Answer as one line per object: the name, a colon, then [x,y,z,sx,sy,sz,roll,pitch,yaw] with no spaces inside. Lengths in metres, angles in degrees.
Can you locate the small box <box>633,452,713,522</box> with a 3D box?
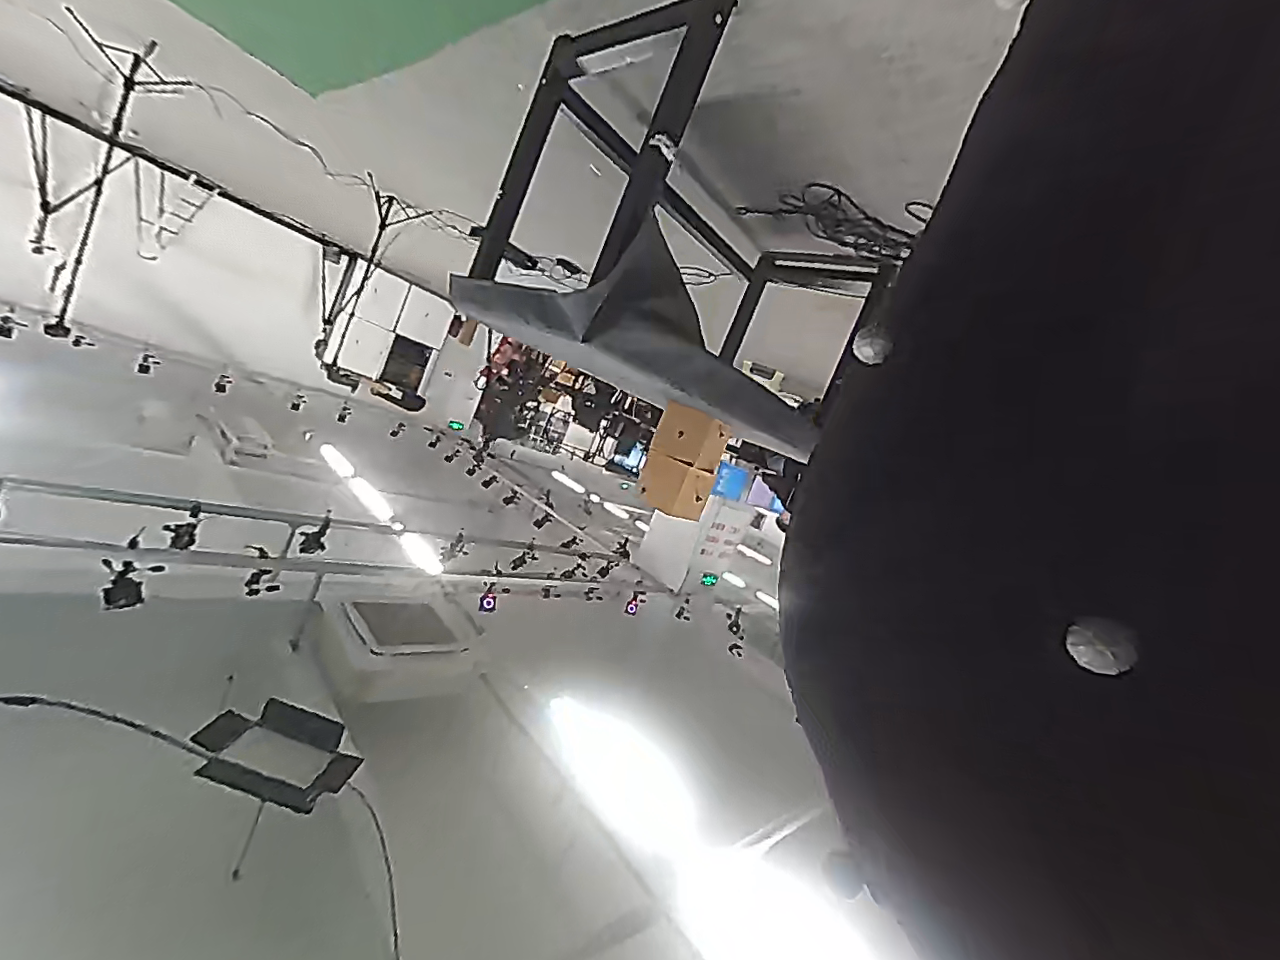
small box: [0.114,0.021,1.731,0.179,0.176,0.168,26,-173,39]
